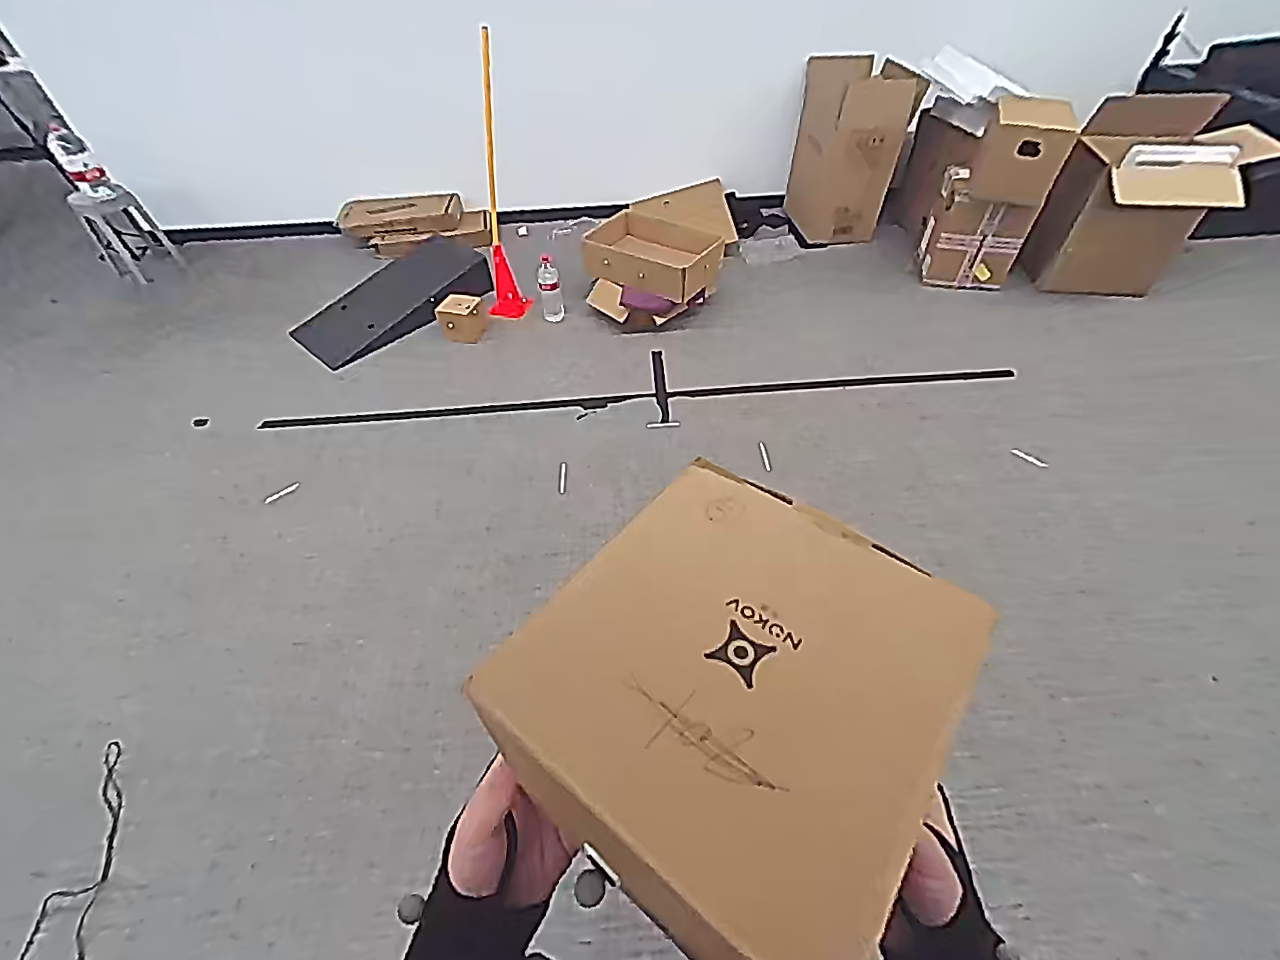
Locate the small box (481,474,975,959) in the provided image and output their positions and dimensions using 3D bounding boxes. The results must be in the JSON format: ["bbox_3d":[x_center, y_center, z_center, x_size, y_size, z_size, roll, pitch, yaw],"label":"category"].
[{"bbox_3d":[0.044,0.135,0.302,0.168,0.176,0.179,29,53,25],"label":"small box"}]
